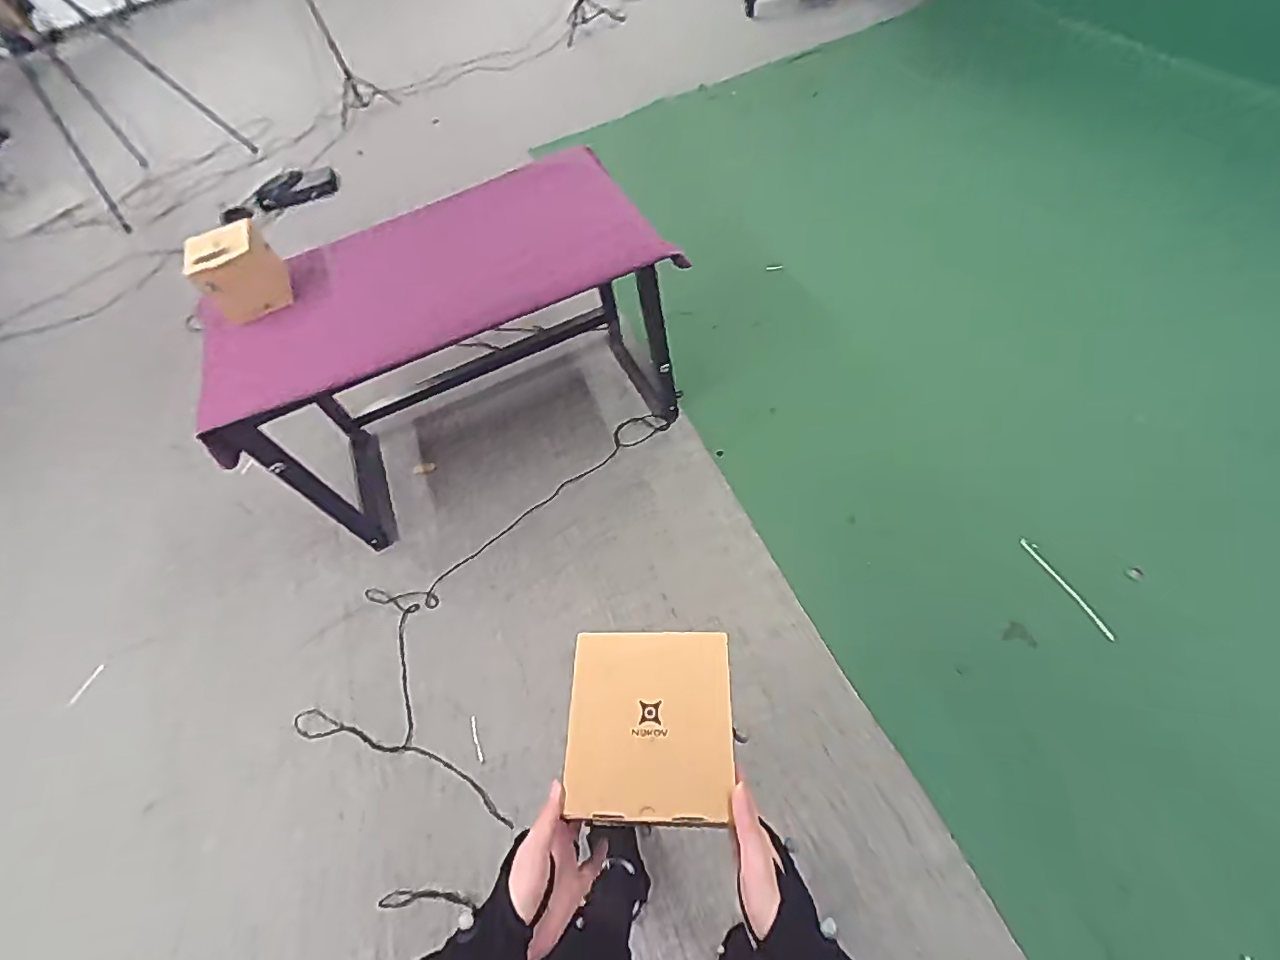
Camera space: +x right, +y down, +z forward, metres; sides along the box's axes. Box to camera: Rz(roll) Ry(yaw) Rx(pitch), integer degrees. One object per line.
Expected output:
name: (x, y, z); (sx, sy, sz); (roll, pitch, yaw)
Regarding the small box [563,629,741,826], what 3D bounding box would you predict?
small box: (0.019, 0.278, 0.602); (0.168, 0.176, 0.179); (-2, 58, 5)
